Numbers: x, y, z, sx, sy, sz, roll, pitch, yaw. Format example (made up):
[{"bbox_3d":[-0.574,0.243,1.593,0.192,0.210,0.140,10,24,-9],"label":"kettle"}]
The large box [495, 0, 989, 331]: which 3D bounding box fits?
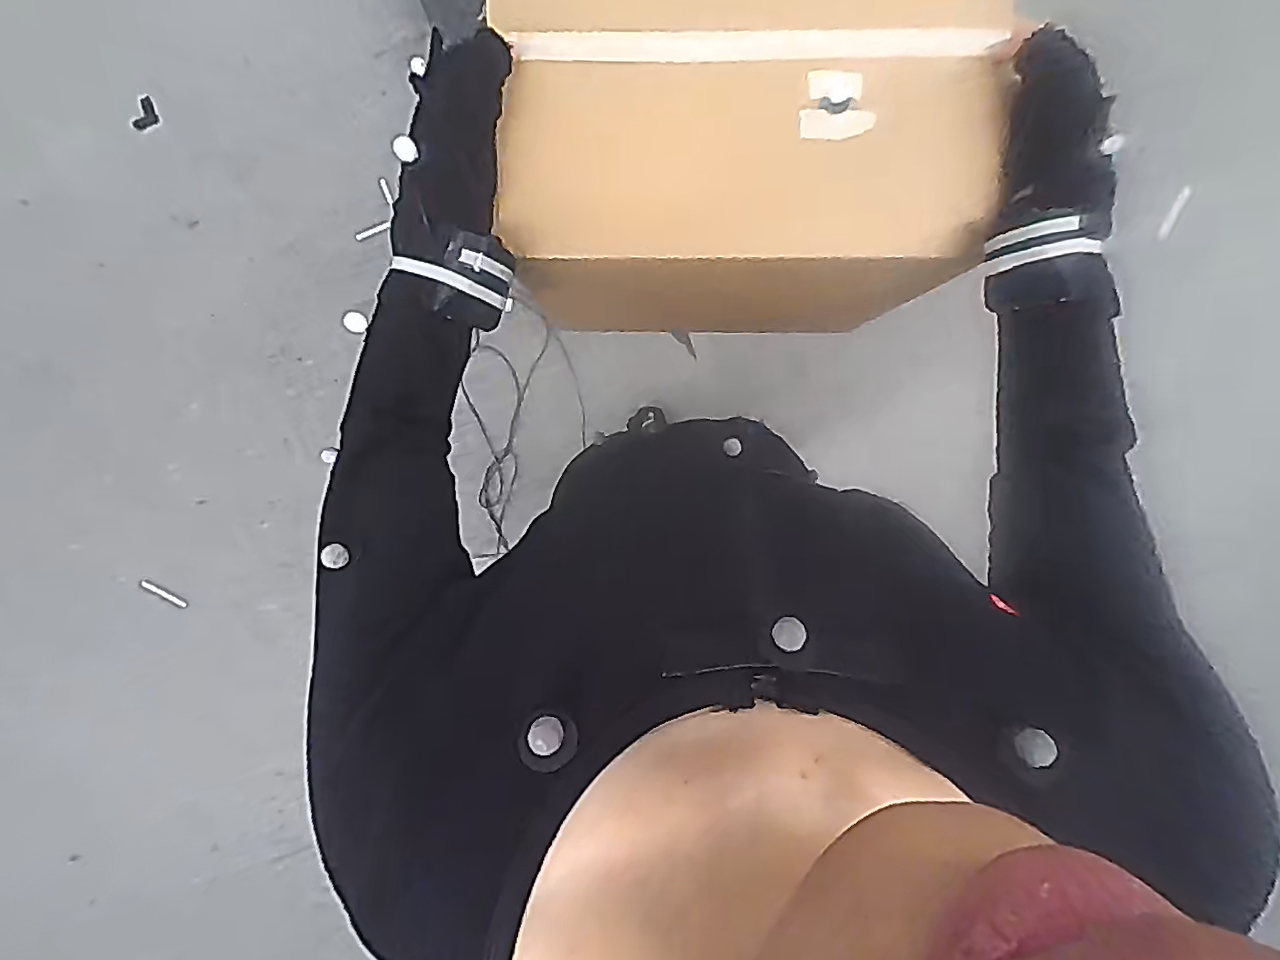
[{"bbox_3d":[0.080,-0.352,0.586,0.408,0.320,0.320,-1,94,0],"label":"large box"}]
